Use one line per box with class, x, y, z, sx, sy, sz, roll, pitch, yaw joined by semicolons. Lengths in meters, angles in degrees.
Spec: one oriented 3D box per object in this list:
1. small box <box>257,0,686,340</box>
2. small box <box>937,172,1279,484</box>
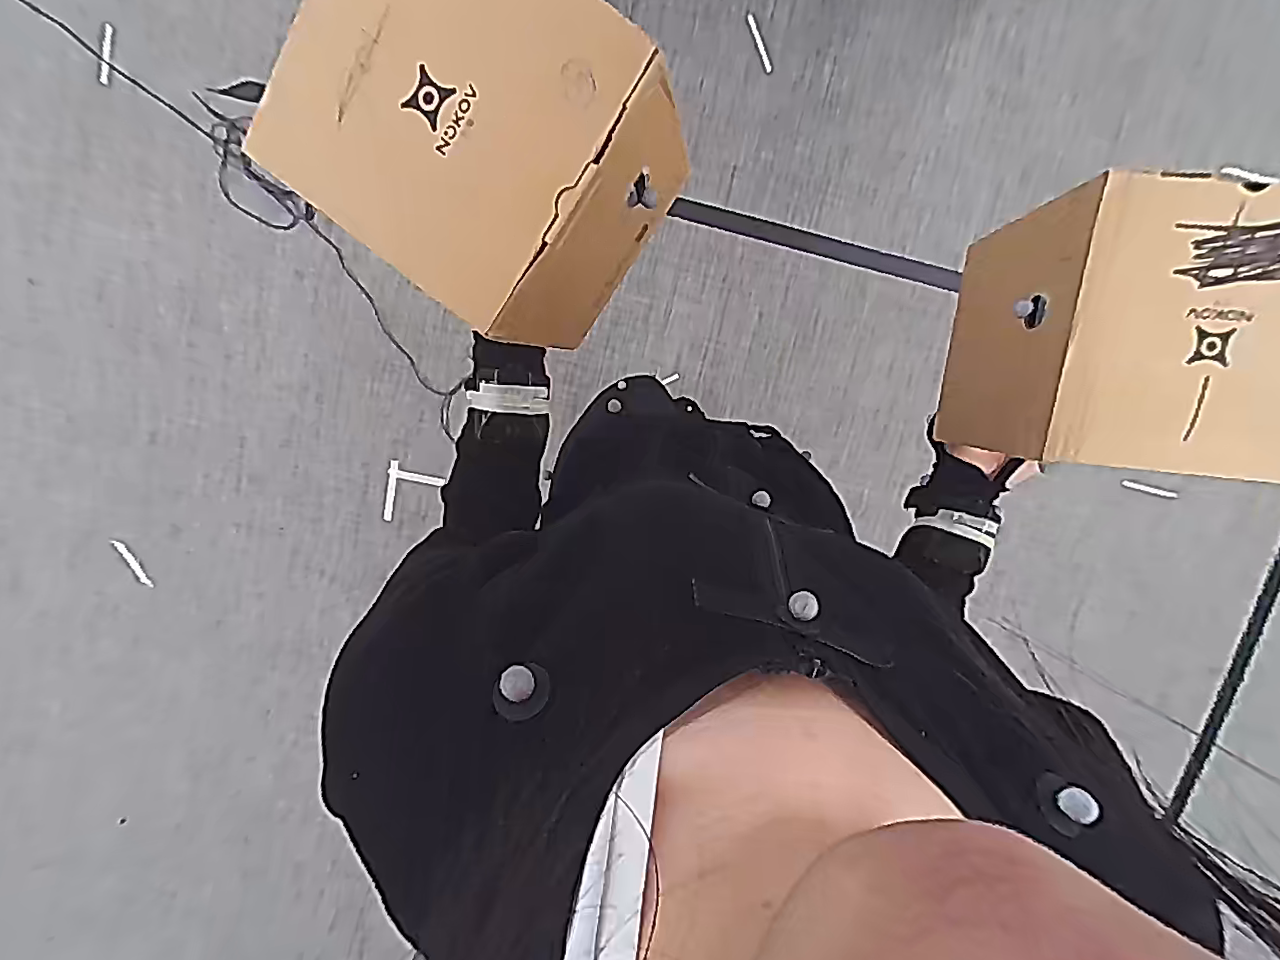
small box;-0.086;-0.208;0.356;0.179;0.176;0.168;37;104;2
small box;0.354;-0.103;0.410;0.168;0.176;0.179;7;100;5
